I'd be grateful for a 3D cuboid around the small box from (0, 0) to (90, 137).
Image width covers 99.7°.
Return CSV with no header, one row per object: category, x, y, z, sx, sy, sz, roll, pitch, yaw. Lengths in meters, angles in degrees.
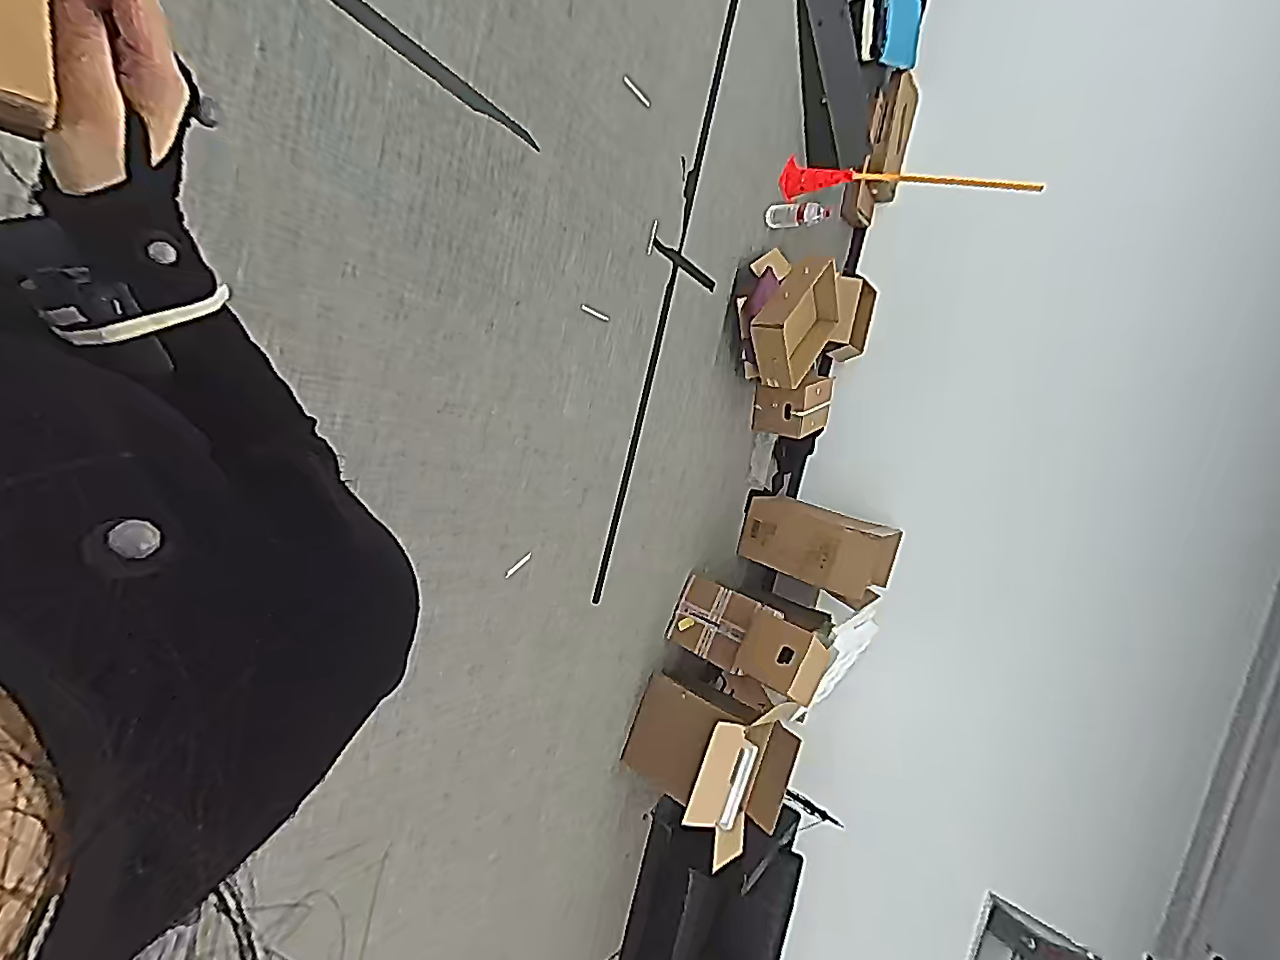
small box,-0.306,-0.244,0.179,0.168,0.176,0.179,-3,112,-47
